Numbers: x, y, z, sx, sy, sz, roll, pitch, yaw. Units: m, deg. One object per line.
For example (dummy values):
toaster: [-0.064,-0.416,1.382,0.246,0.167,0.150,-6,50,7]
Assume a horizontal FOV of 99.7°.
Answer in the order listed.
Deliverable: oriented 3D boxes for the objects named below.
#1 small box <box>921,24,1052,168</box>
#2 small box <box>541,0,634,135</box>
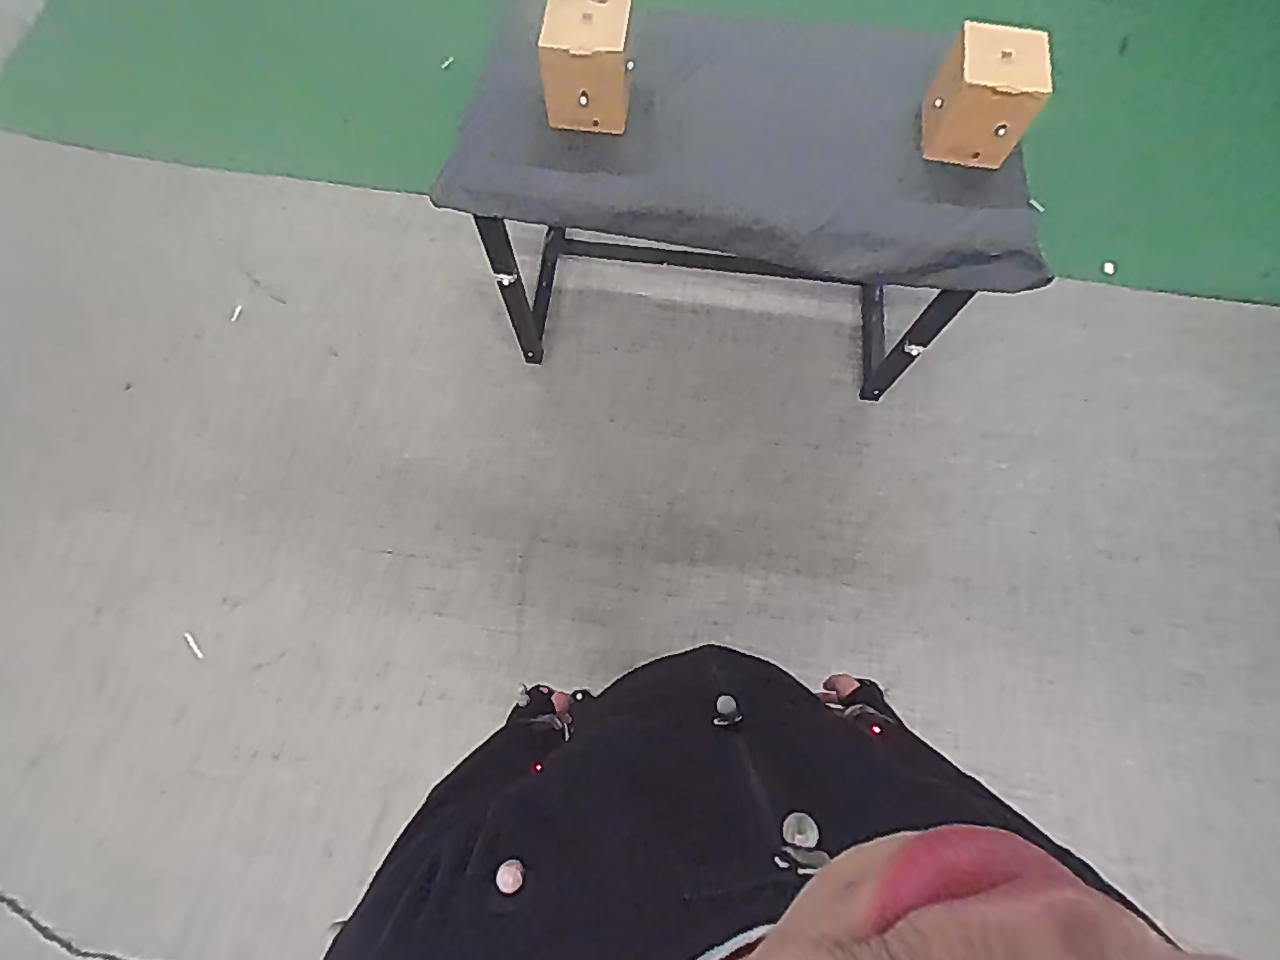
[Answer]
small box: [0.703,-0.781,1.113,0.168,0.176,0.179,10,70,2]
small box: [-0.101,-0.864,1.134,0.168,0.176,0.179,6,72,1]
